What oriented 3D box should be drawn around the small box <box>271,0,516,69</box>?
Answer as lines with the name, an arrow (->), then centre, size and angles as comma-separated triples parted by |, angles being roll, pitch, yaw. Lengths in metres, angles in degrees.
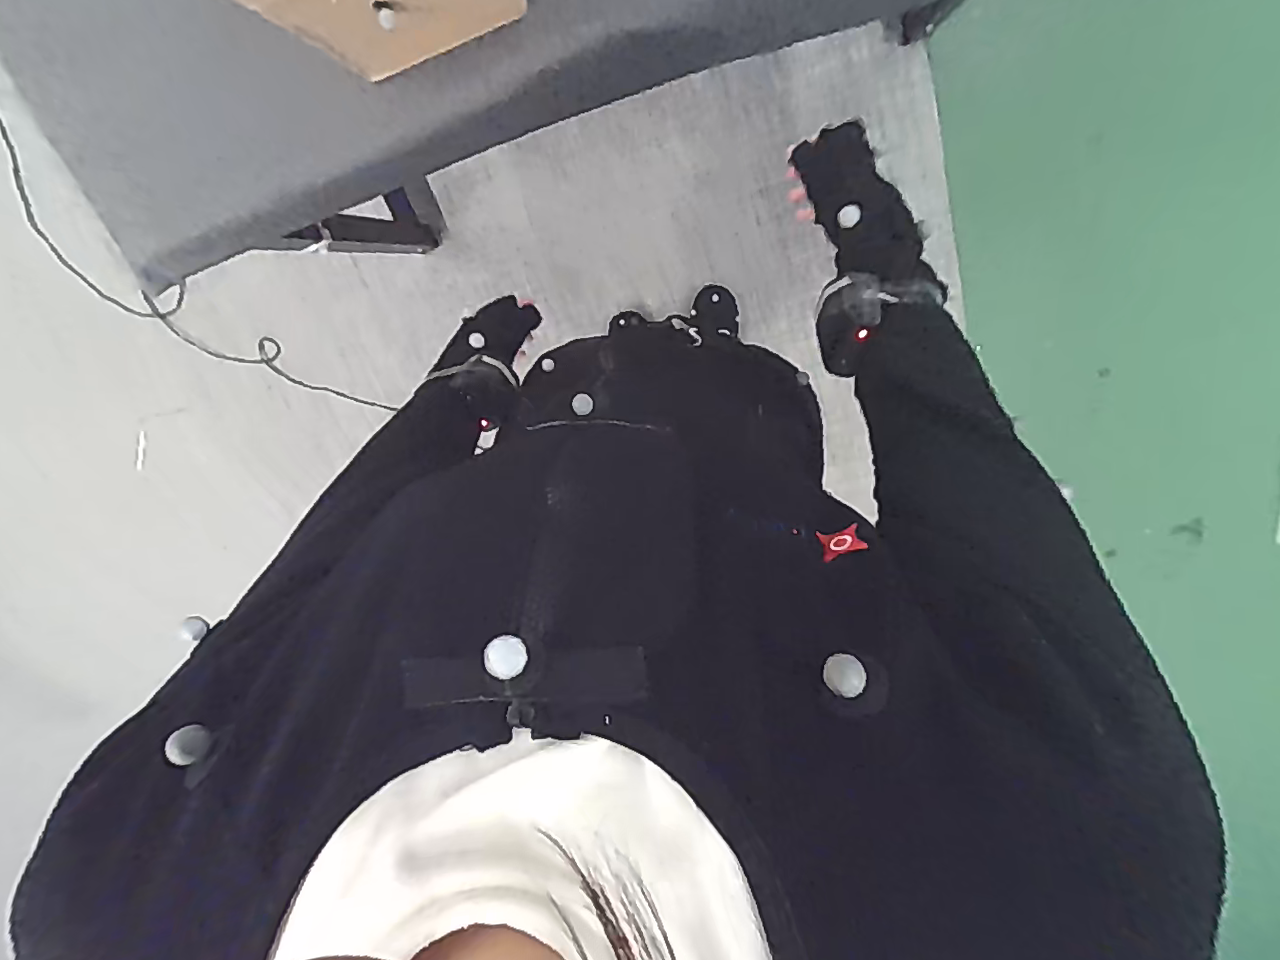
small box -> -0.222, -0.480, 0.440 | 0.179, 0.176, 0.168 | -15, 108, 11
